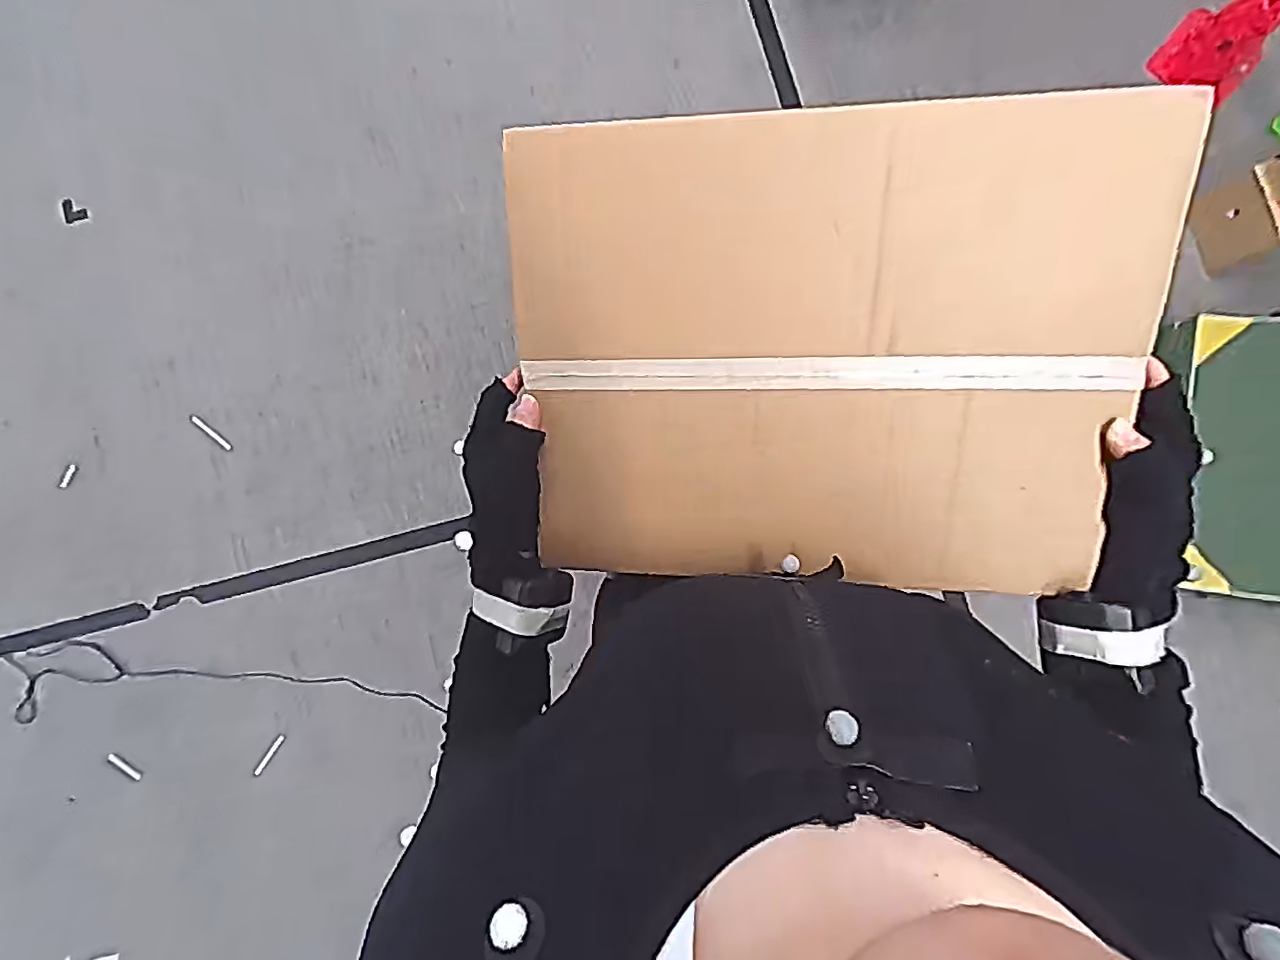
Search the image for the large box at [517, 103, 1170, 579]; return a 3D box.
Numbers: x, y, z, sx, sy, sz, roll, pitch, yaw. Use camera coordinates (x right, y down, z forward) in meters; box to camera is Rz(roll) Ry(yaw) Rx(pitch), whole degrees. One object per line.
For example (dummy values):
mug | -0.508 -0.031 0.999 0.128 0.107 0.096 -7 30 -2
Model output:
large box | 0.135 -0.118 0.524 0.408 0.320 0.320 1 109 8
